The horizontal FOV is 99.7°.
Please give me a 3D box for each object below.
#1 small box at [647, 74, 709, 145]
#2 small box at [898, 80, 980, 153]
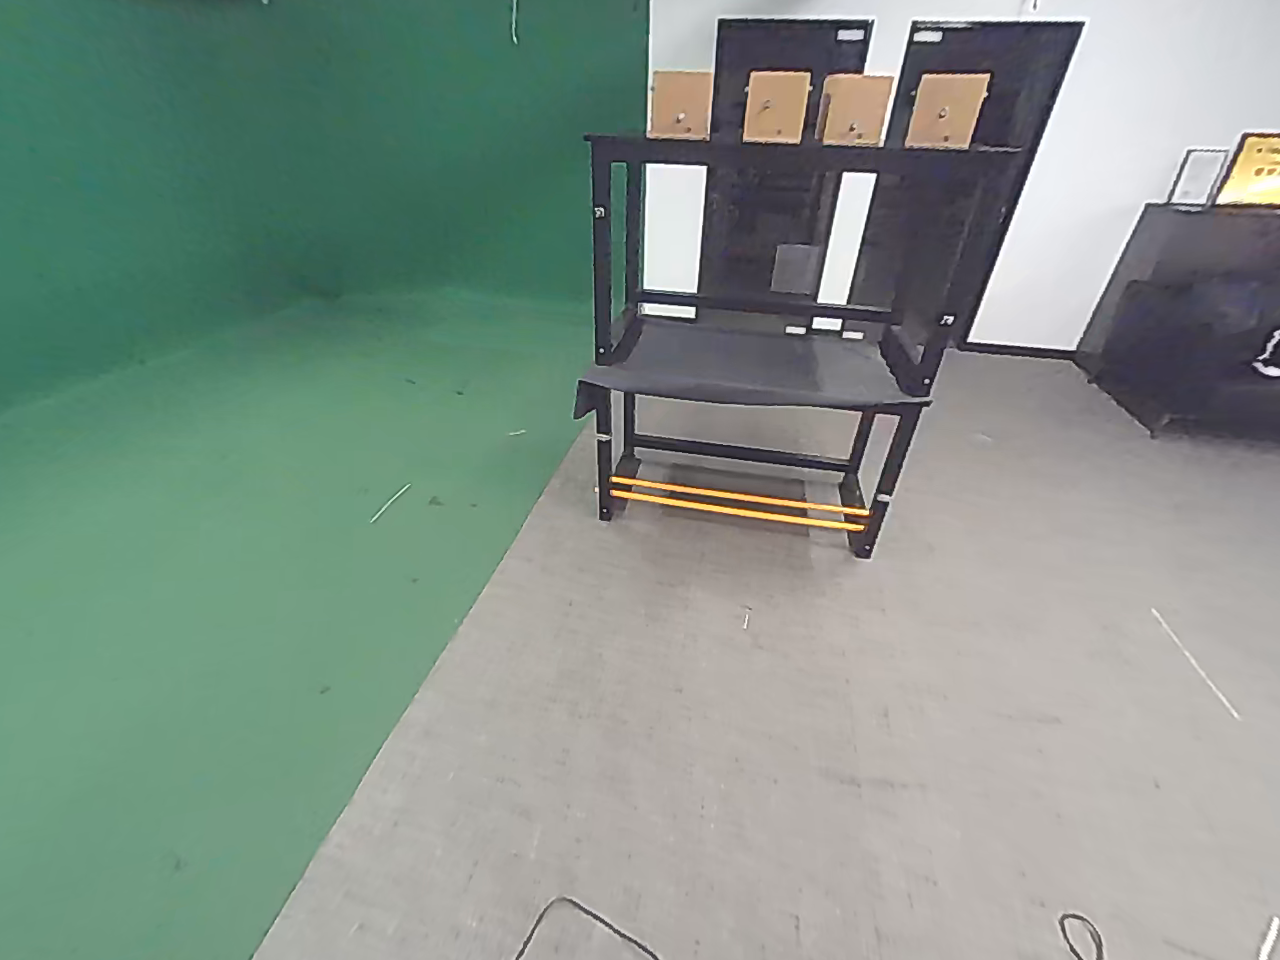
[{"bbox_3d":[0.112,-1.158,1.694,0.168,0.176,0.179,-1,35,-4],"label":"small box"},{"bbox_3d":[0.861,-1.050,1.567,0.168,0.176,0.179,14,36,17],"label":"small box"}]
